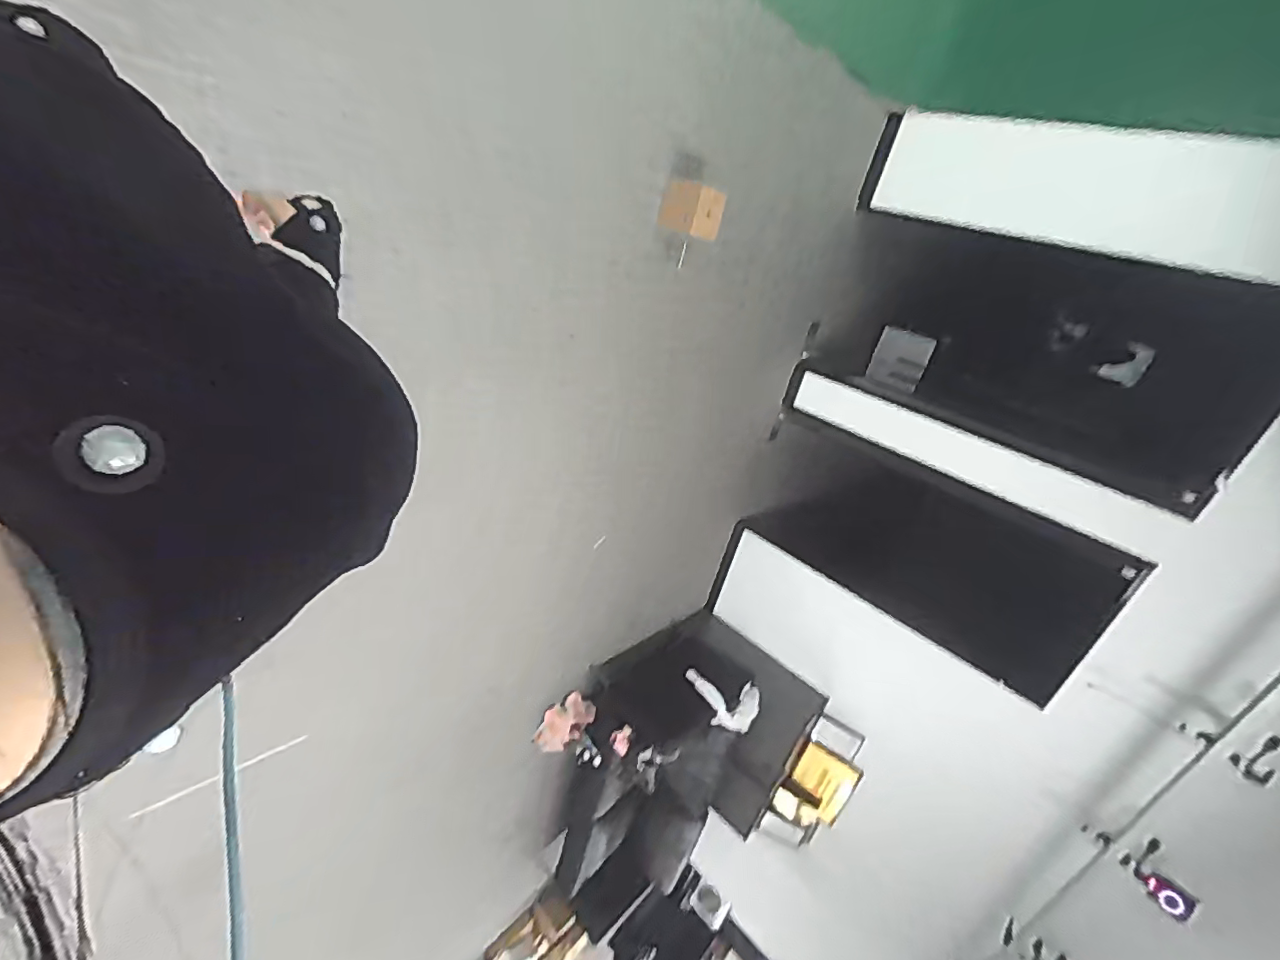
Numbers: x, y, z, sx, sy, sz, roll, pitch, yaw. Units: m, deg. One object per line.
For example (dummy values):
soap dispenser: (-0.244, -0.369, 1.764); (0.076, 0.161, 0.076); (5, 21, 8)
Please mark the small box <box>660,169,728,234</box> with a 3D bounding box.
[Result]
small box: (0.197, -1.038, 2.017); (0.168, 0.176, 0.179); (-15, 128, -47)
